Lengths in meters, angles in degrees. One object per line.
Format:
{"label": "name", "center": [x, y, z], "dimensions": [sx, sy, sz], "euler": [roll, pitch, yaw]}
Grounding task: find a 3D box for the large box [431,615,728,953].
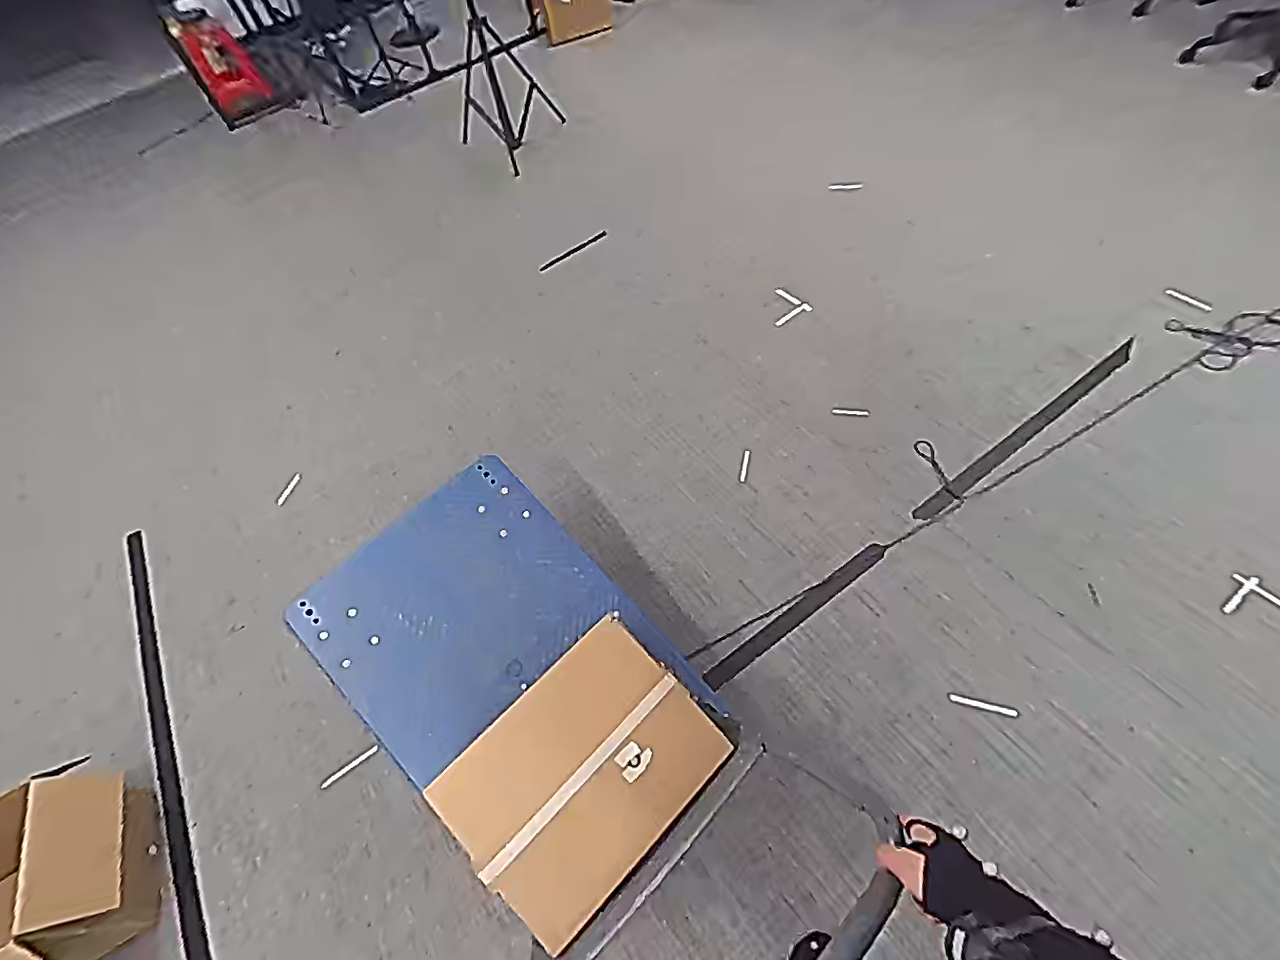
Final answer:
{"label": "large box", "center": [-0.109, 0.524, 1.023], "dimensions": [0.408, 0.320, 0.320], "euler": [-41, 82, -19]}
